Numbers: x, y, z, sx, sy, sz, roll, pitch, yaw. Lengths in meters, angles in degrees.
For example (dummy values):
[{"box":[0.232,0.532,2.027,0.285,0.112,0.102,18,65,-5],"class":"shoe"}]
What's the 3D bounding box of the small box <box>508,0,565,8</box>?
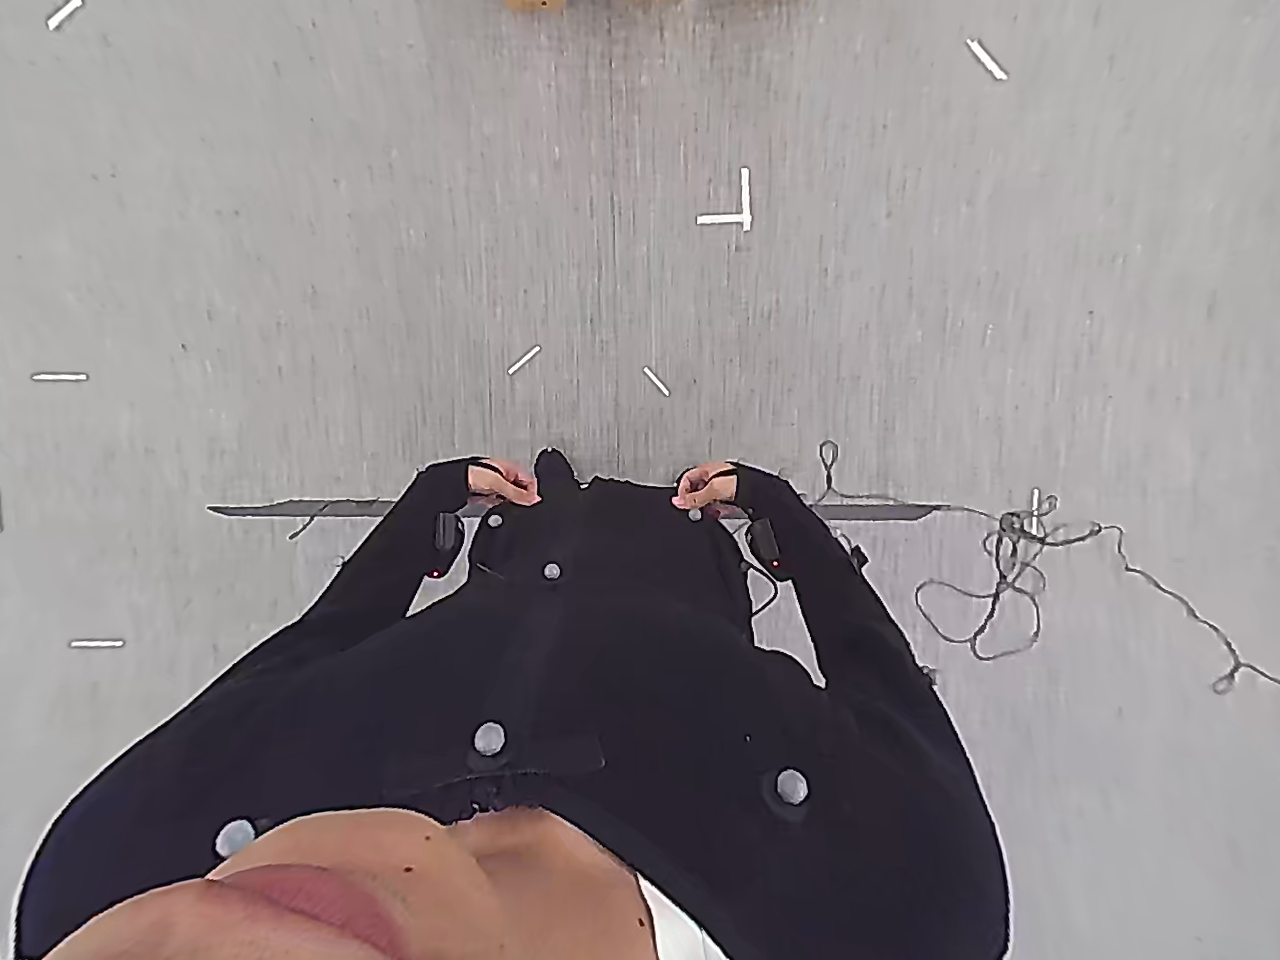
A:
[{"box":[-0.290,-1.402,1.424,0.168,0.176,0.179,-1,94,0],"class":"small box"}]
